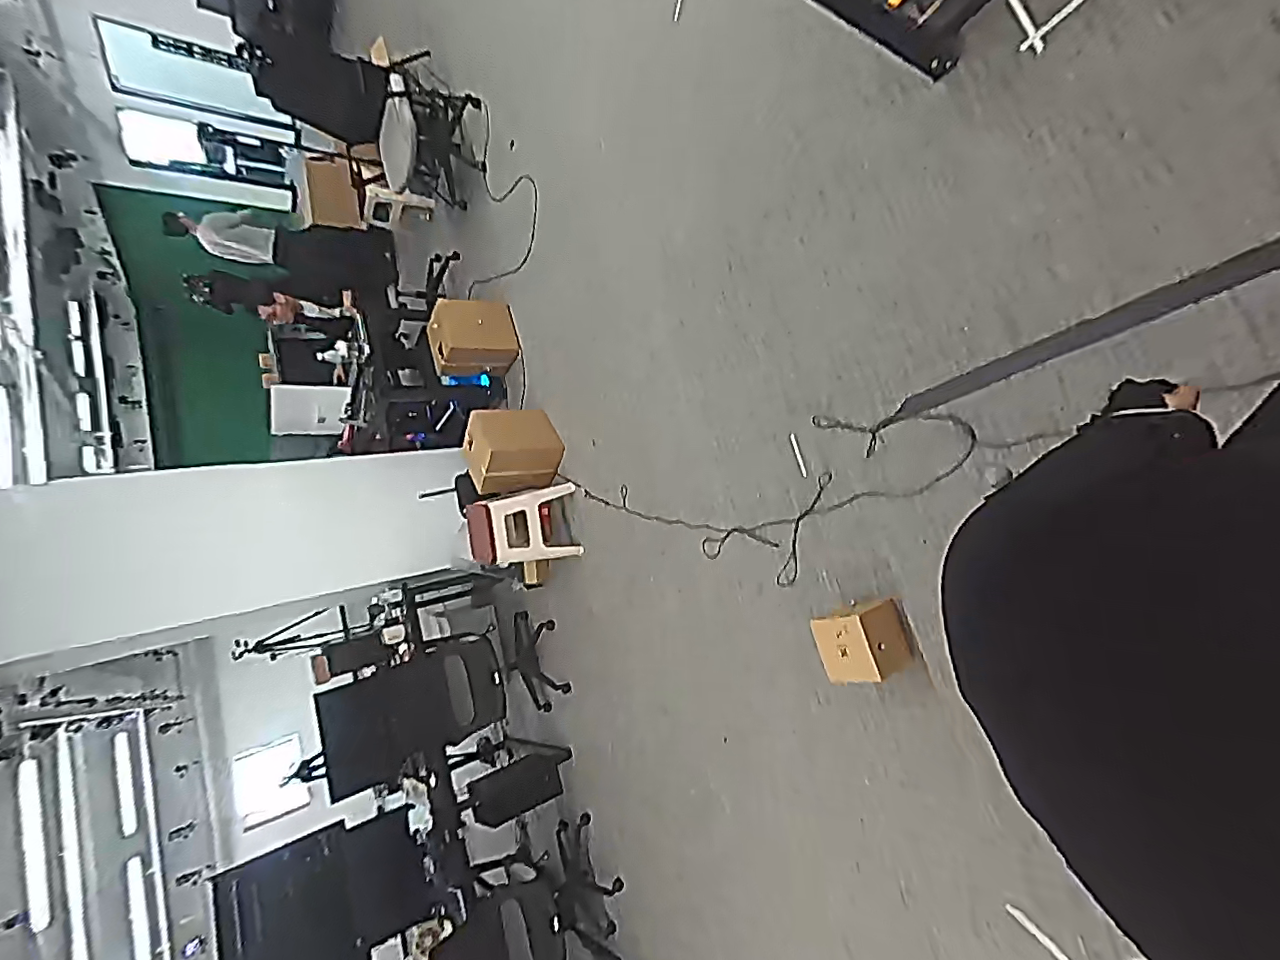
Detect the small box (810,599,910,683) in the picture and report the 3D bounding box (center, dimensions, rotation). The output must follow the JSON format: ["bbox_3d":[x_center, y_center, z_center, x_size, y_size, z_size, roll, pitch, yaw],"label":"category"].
[{"bbox_3d":[0.608,0.443,1.487,0.168,0.176,0.179,-29,75,51],"label":"small box"}]
